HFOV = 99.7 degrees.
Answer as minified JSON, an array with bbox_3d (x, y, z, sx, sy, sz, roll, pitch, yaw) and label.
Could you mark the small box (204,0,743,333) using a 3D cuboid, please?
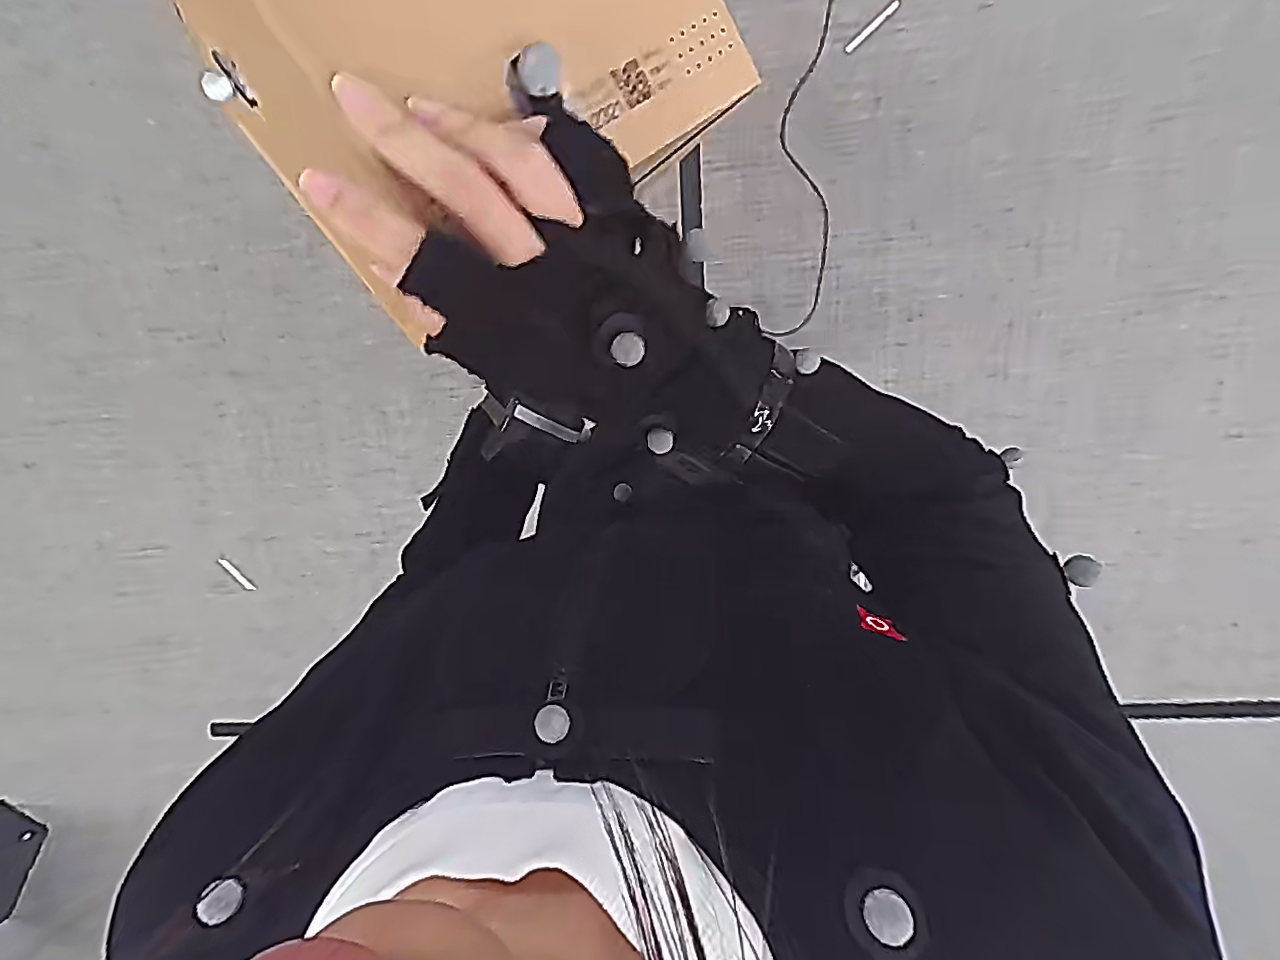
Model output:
[{"bbox_3d":[-0.084,-0.195,0.279,0.168,0.179,0.176,-42,109,-15],"label":"small box"}]
